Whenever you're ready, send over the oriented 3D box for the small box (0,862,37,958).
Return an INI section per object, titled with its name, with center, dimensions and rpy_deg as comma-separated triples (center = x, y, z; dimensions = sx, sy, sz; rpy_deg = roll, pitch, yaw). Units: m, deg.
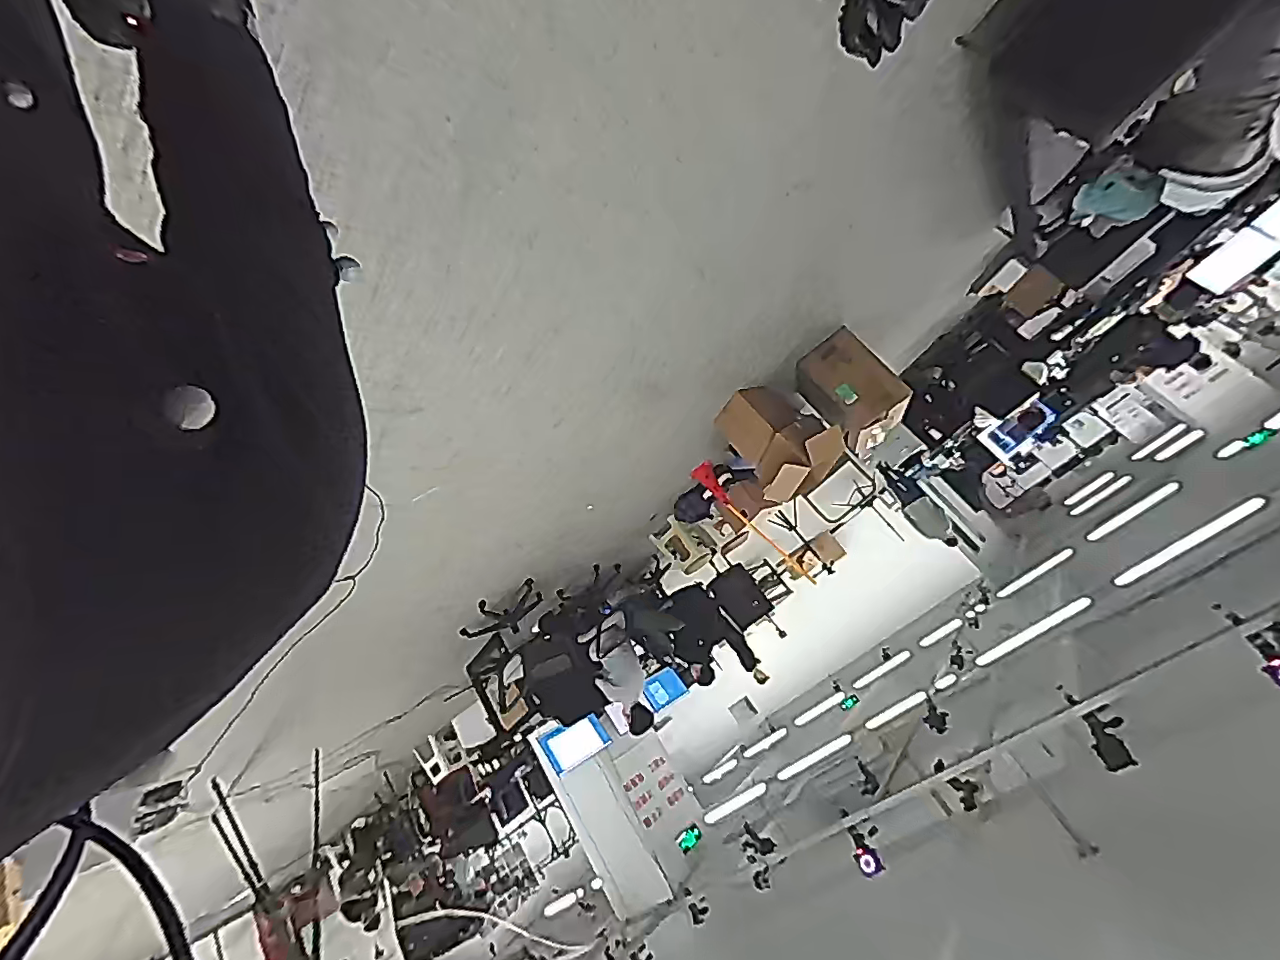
[small box]
center = -1.578, 1.049, 1.276
dimensions = 0.179, 0.176, 0.168
rpy_deg = -11, 146, -44
